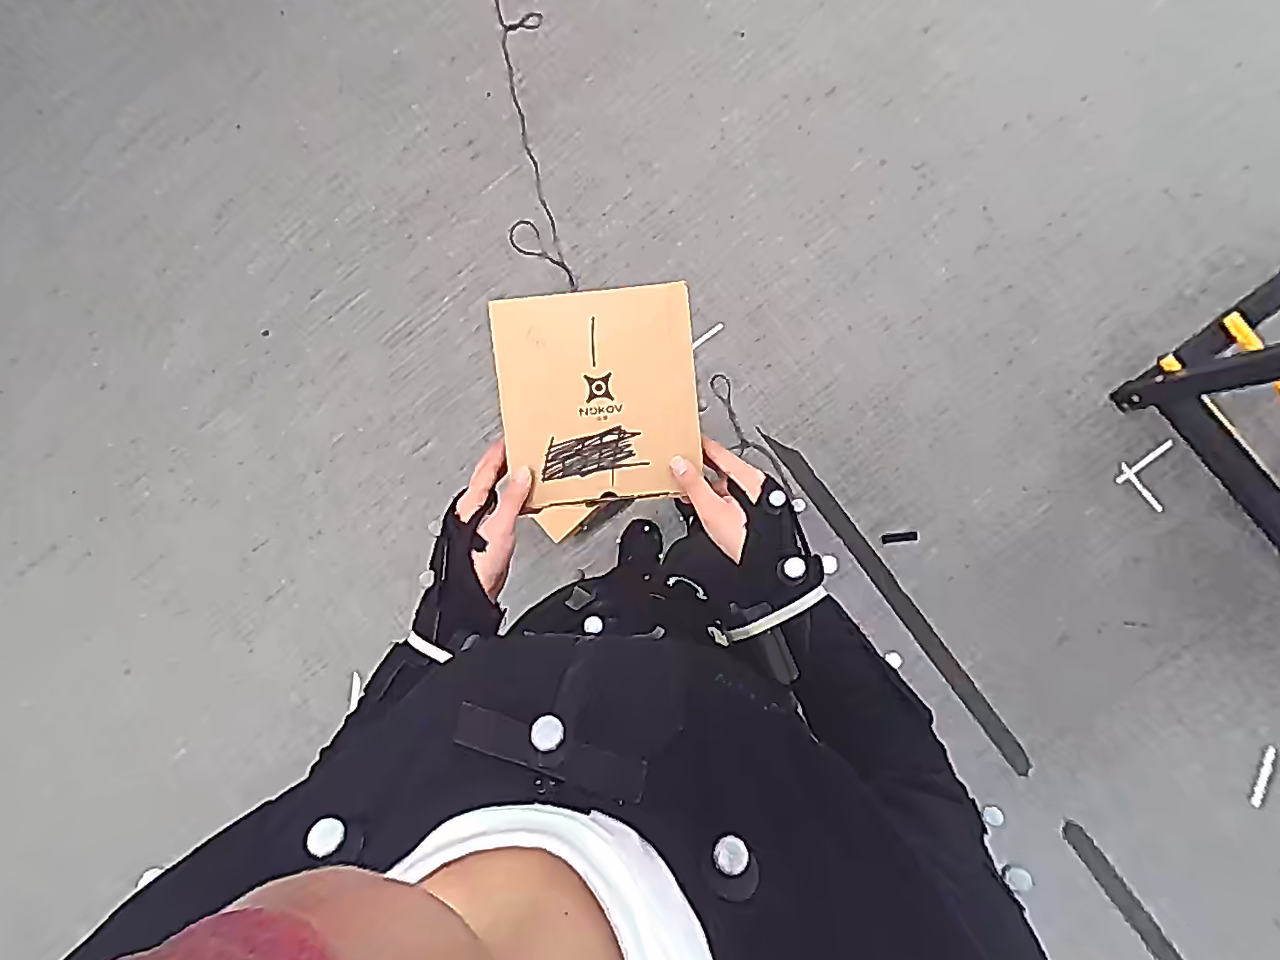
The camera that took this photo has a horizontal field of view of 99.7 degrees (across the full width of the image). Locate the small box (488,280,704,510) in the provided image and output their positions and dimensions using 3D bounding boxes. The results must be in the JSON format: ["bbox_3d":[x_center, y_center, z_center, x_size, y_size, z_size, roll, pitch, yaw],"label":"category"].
[{"bbox_3d":[-0.033,-0.075,0.516,0.168,0.176,0.179,-5,95,0],"label":"small box"}]
